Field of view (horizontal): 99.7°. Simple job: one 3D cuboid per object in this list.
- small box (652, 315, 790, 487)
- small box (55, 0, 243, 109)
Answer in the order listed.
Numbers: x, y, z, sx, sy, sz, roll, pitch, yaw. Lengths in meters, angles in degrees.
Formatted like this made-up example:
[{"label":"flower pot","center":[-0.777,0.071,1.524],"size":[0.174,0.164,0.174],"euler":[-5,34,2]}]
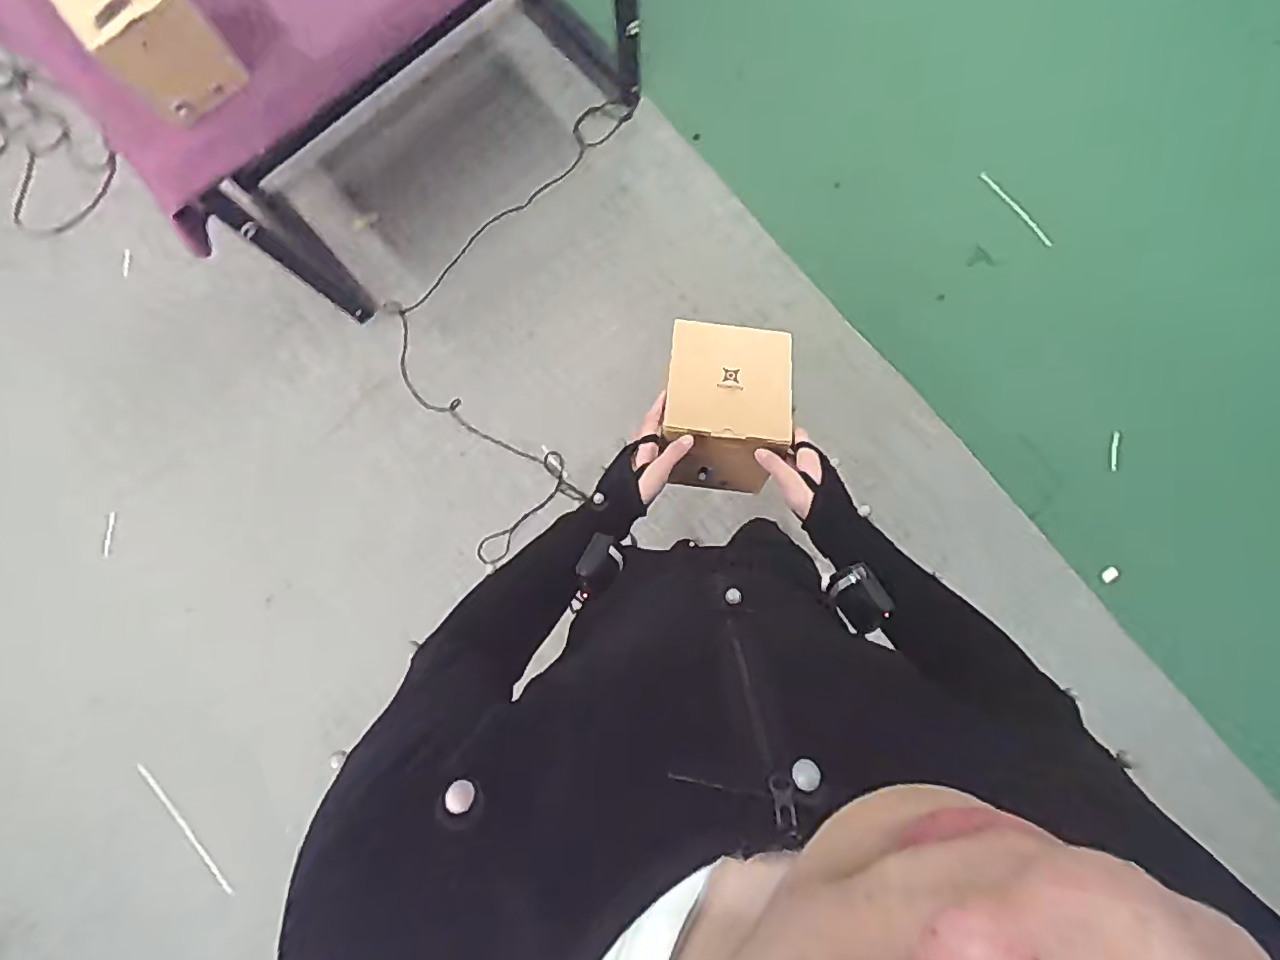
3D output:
[{"label":"small box","center":[0.110,-0.107,0.780],"size":[0.168,0.176,0.179],"euler":[6,68,-1]},{"label":"small box","center":[-0.840,-0.784,0.923],"size":[0.168,0.176,0.179],"euler":[-38,84,-3]}]
